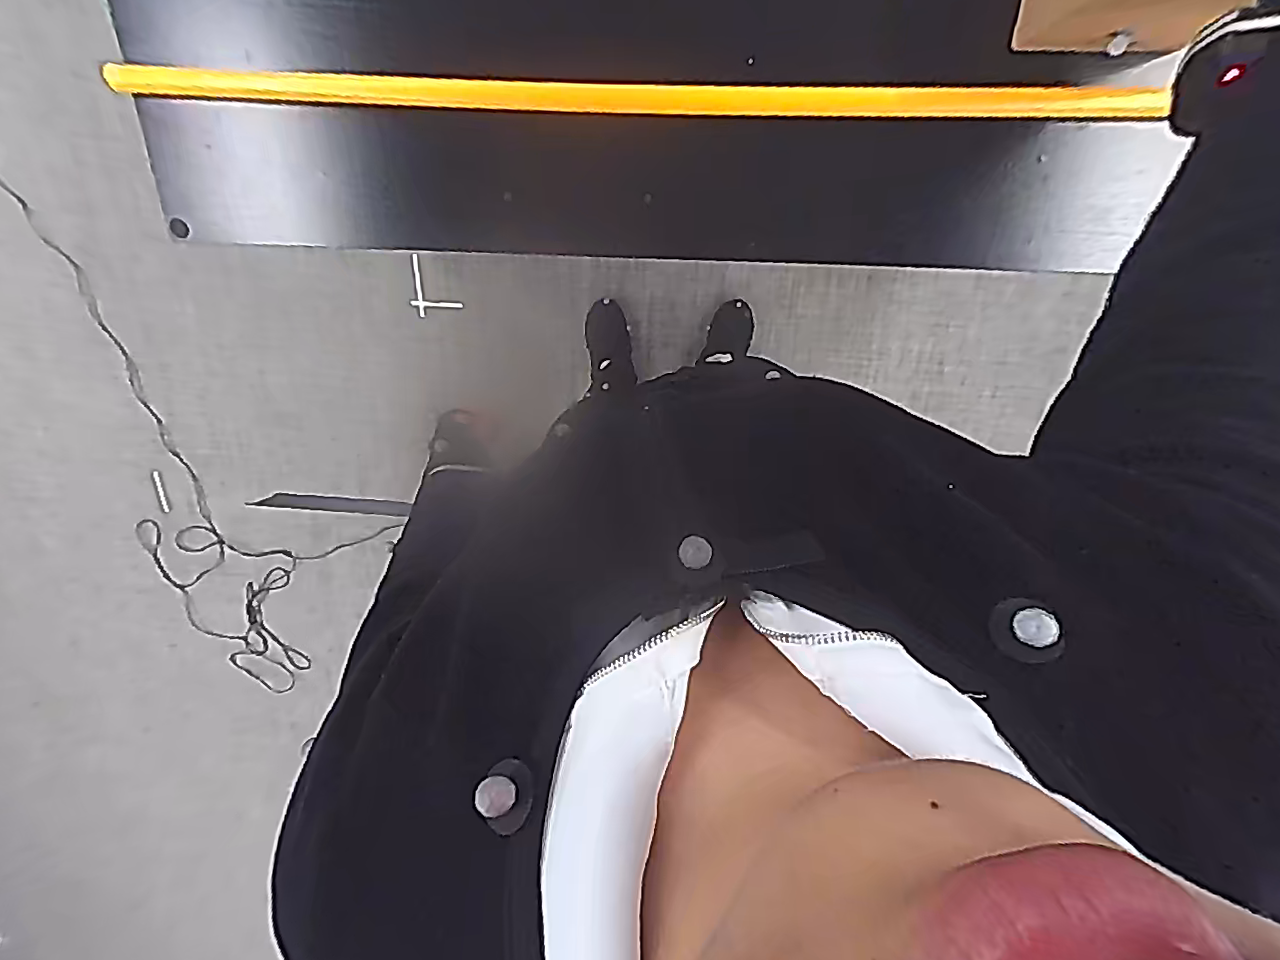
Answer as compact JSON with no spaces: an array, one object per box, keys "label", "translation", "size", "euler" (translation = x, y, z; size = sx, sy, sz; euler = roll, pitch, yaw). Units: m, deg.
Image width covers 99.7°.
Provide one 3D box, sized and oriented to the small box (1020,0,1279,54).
[{"label":"small box","translation":[0.465,-0.497,0.453],"size":[0.168,0.176,0.179],"euler":[4,112,3]}]
